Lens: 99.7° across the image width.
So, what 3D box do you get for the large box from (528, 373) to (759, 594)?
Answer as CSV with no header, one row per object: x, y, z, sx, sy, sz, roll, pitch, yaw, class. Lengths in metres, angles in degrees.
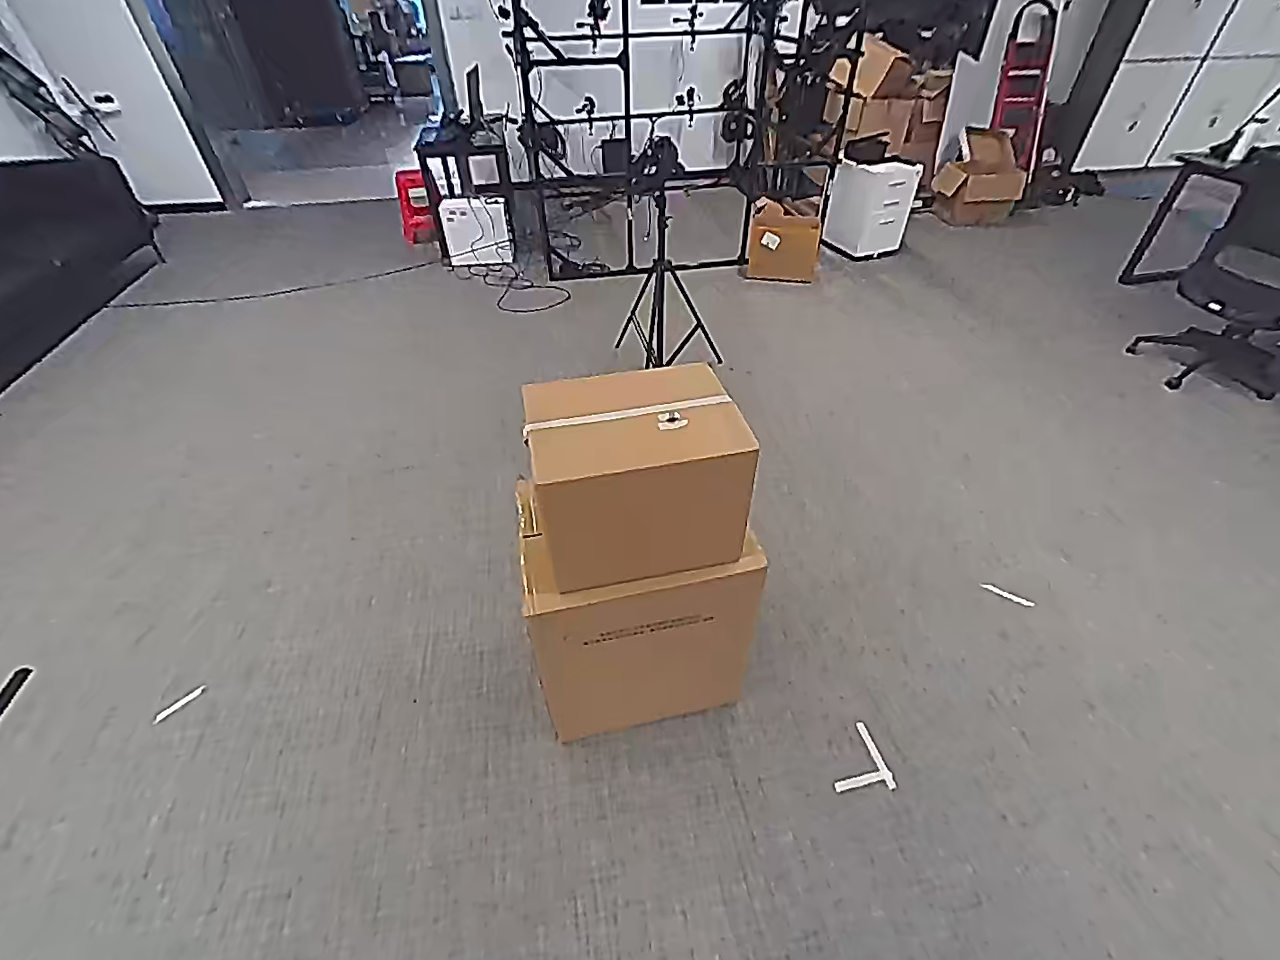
-0.008,0.001,1.158,0.408,0.320,0.320,-9,43,-10,large box
